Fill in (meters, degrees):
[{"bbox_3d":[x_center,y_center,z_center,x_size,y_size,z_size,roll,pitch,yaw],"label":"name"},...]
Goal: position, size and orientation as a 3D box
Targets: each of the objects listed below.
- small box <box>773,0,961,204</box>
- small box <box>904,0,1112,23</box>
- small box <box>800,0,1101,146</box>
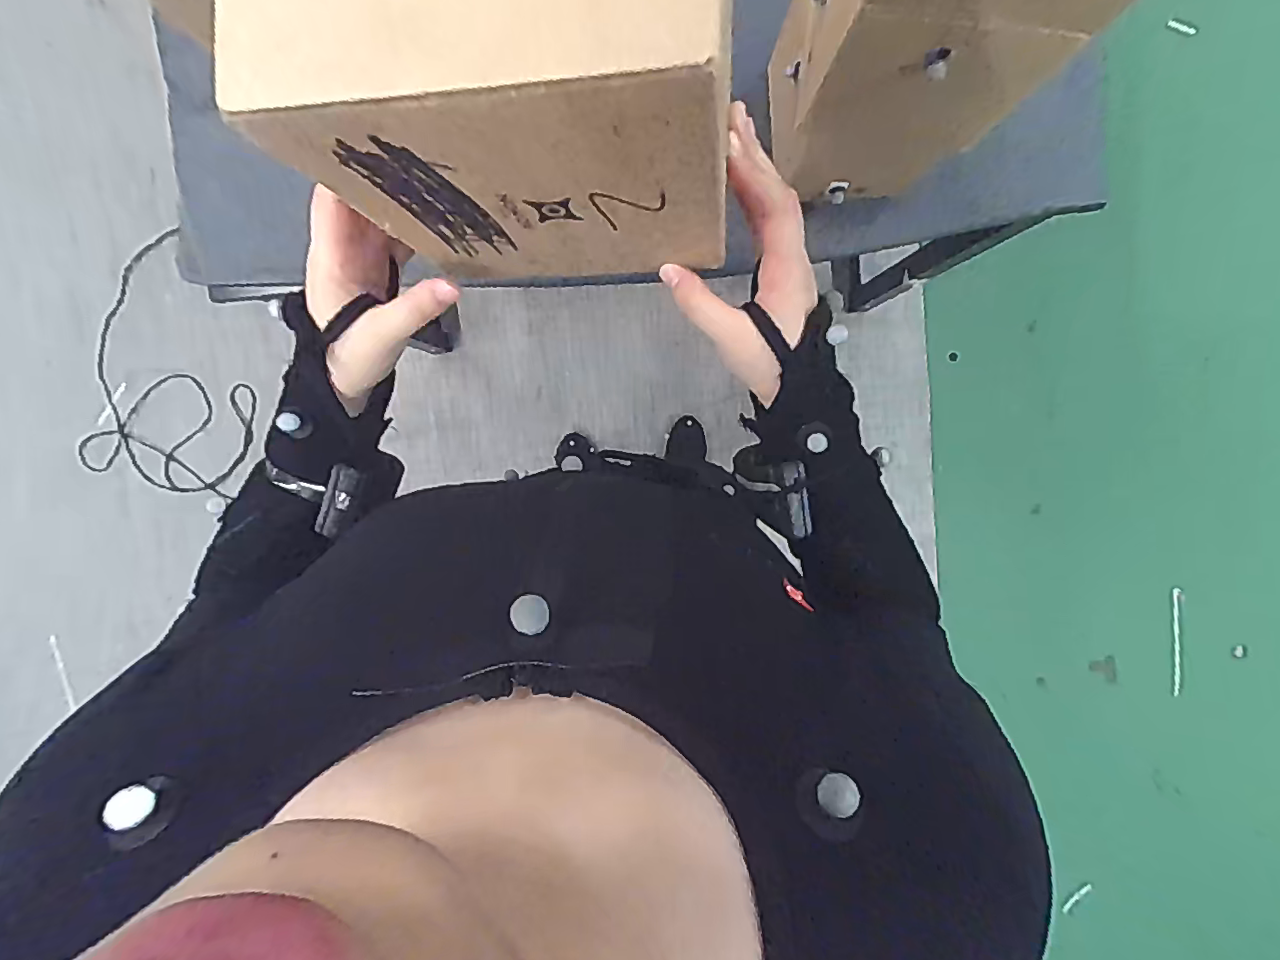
[{"bbox_3d":[0.254,-0.447,0.622,0.168,0.176,0.179,-4,96,2],"label":"small box"},{"bbox_3d":[0.254,-0.403,0.297,0.179,0.176,0.168,8,95,1],"label":"small box"},{"bbox_3d":[0.254,-0.416,0.461,0.179,0.176,0.168,6,95,1],"label":"small box"}]
